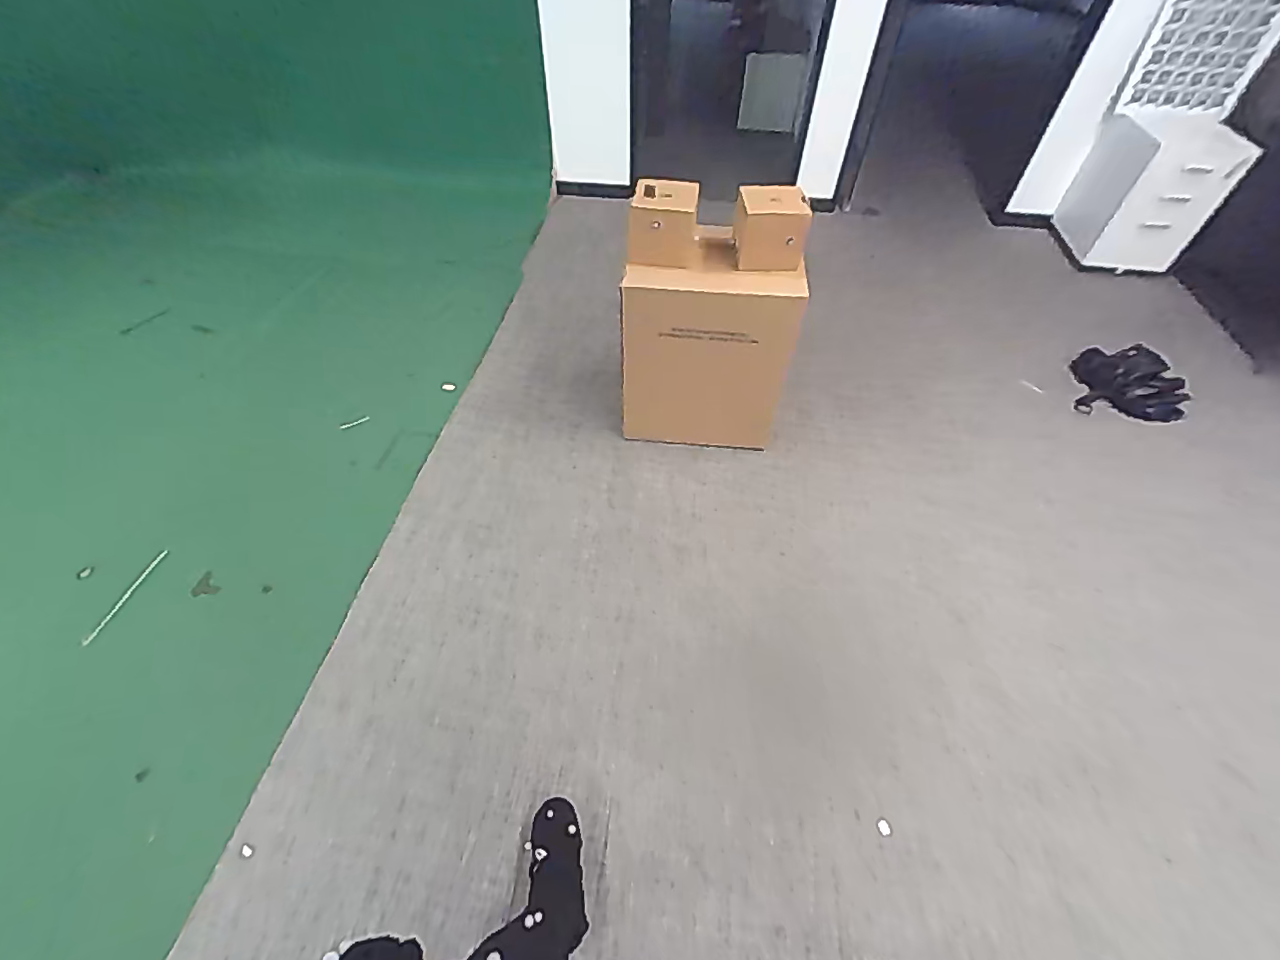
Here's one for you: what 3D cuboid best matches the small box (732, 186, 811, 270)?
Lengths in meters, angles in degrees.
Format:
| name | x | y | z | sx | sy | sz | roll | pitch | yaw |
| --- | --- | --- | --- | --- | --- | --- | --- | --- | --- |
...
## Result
| name | x | y | z | sx | sy | sz | roll | pitch | yaw |
| --- | --- | --- | --- | --- | --- | --- | --- | --- | --- |
| small box | 0.371 | -0.721 | 1.553 | 0.179 | 0.176 | 0.168 | -2 | 52 | 0 |

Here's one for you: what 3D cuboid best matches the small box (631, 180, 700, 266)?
| name | x | y | z | sx | sy | sz | roll | pitch | yaw |
| --- | --- | --- | --- | --- | --- | --- | --- | --- | --- |
| small box | 0.072 | -0.742 | 1.564 | 0.179 | 0.176 | 0.168 | 8 | 54 | 5 |
